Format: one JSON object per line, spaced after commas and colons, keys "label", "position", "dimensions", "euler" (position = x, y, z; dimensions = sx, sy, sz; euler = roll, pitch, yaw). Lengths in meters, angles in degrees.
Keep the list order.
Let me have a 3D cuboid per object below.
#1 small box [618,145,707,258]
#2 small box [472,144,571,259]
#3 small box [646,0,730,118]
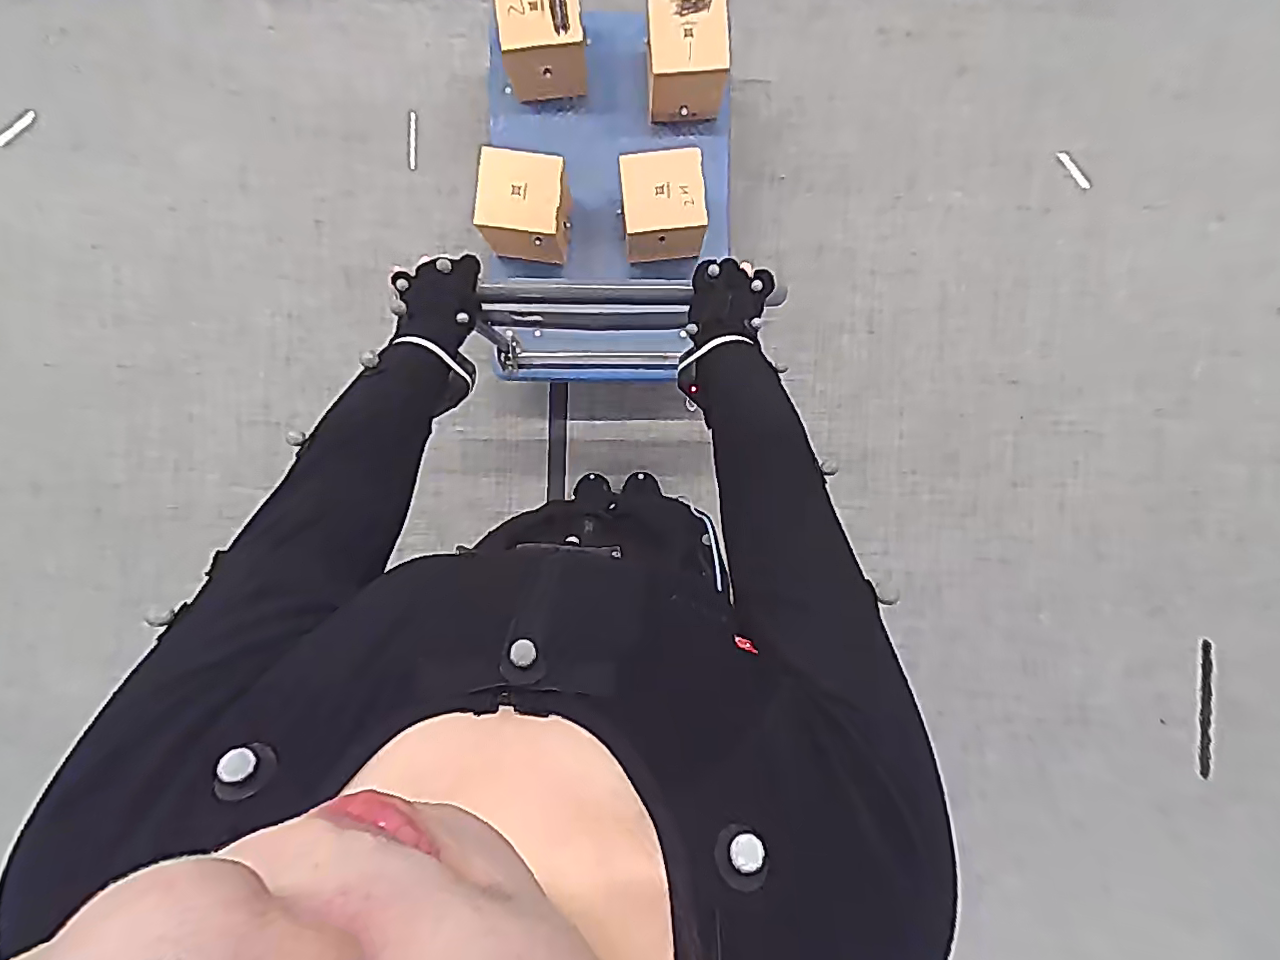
{"label": "small box", "position": [0.048, -0.611, 1.208], "dimensions": [0.179, 0.176, 0.168], "euler": [-6, 92, 0]}
{"label": "small box", "position": [-0.257, -0.611, 1.207], "dimensions": [0.179, 0.176, 0.168], "euler": [6, 92, -2]}
{"label": "small box", "position": [0.100, -0.944, 1.197], "dimensions": [0.168, 0.176, 0.179], "euler": [-4, 93, 0]}
